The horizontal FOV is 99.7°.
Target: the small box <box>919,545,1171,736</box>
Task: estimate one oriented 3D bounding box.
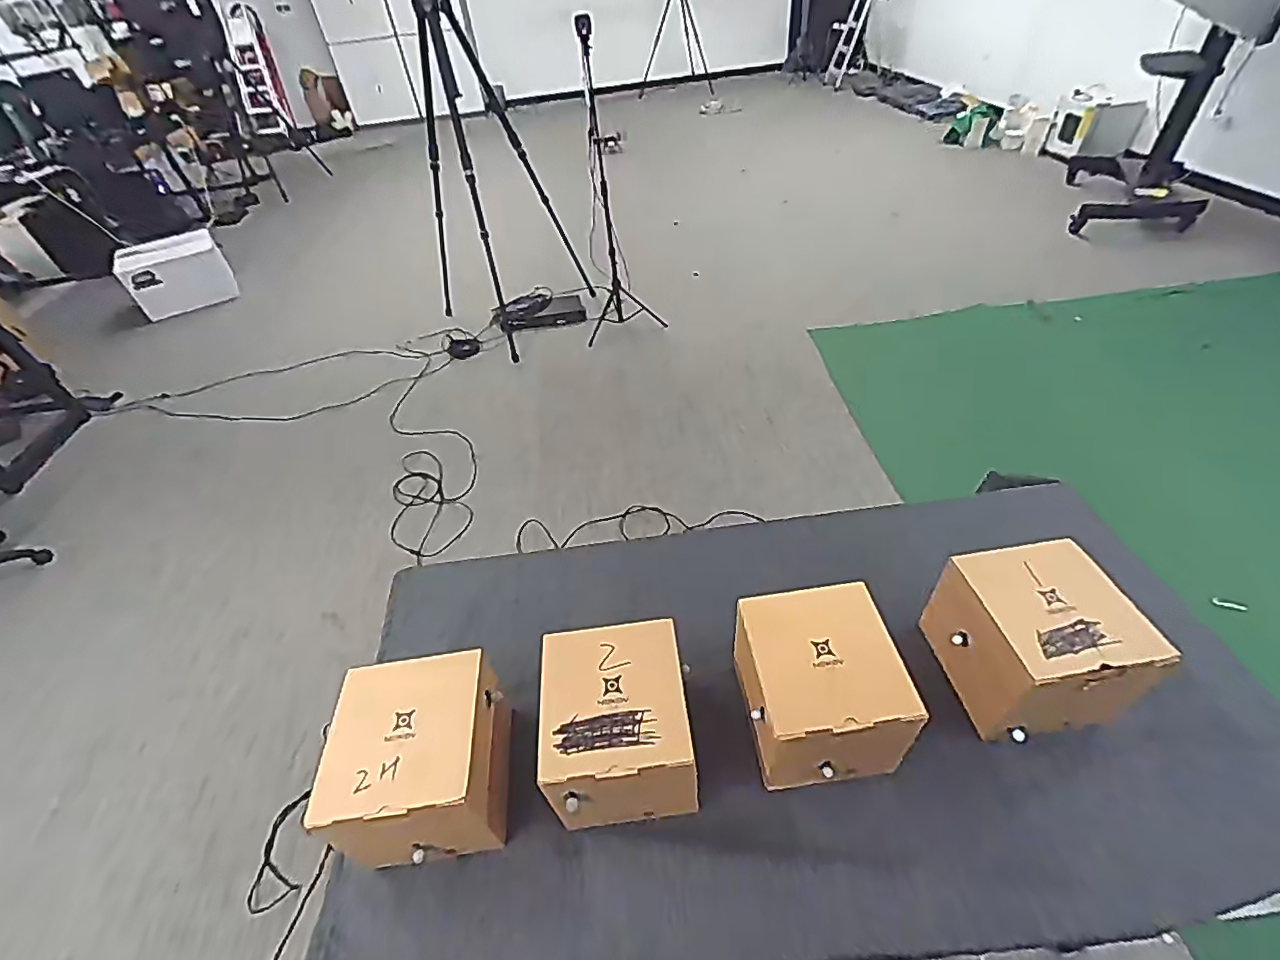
[{"bbox_3d":[0.497,0.213,0.700,0.168,0.176,0.179,-8,43,-1],"label":"small box"}]

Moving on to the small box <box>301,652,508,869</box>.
[{"bbox_3d":[-0.262,0.337,0.655,0.168,0.176,0.179,-7,43,-3],"label":"small box"}]

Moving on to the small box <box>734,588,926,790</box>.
[{"bbox_3d":[0.219,0.264,0.685,0.168,0.176,0.179,-8,45,-2],"label":"small box"}]
